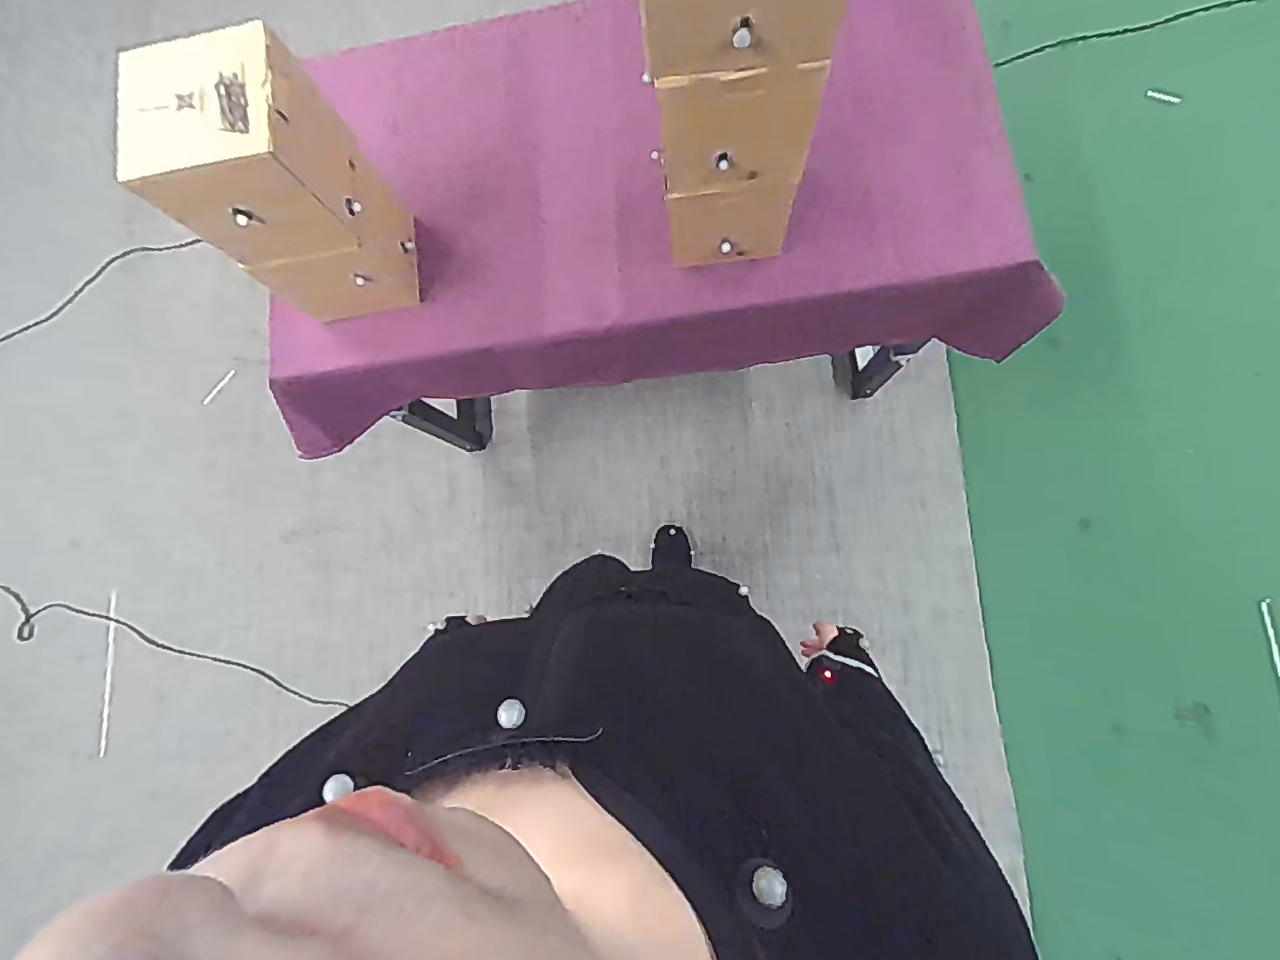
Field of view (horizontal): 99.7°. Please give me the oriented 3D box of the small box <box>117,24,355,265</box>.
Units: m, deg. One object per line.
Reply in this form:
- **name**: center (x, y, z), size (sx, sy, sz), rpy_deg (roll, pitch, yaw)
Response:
- **small box**: center (-0.470, -0.389, 0.655), size (0.179, 0.176, 0.168), rpy_deg (-9, 81, 4)

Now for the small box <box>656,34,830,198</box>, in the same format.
- **small box**: center (0.101, -0.455, 0.607), size (0.168, 0.176, 0.179), rpy_deg (-4, 82, 5)

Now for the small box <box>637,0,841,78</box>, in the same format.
- **small box**: center (0.083, -0.476, 0.445), size (0.179, 0.176, 0.168), rpy_deg (-2, 82, 5)

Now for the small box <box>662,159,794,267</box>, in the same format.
- **small box**: center (0.115, -0.432, 0.768), size (0.168, 0.176, 0.179), rpy_deg (-4, 82, 6)
